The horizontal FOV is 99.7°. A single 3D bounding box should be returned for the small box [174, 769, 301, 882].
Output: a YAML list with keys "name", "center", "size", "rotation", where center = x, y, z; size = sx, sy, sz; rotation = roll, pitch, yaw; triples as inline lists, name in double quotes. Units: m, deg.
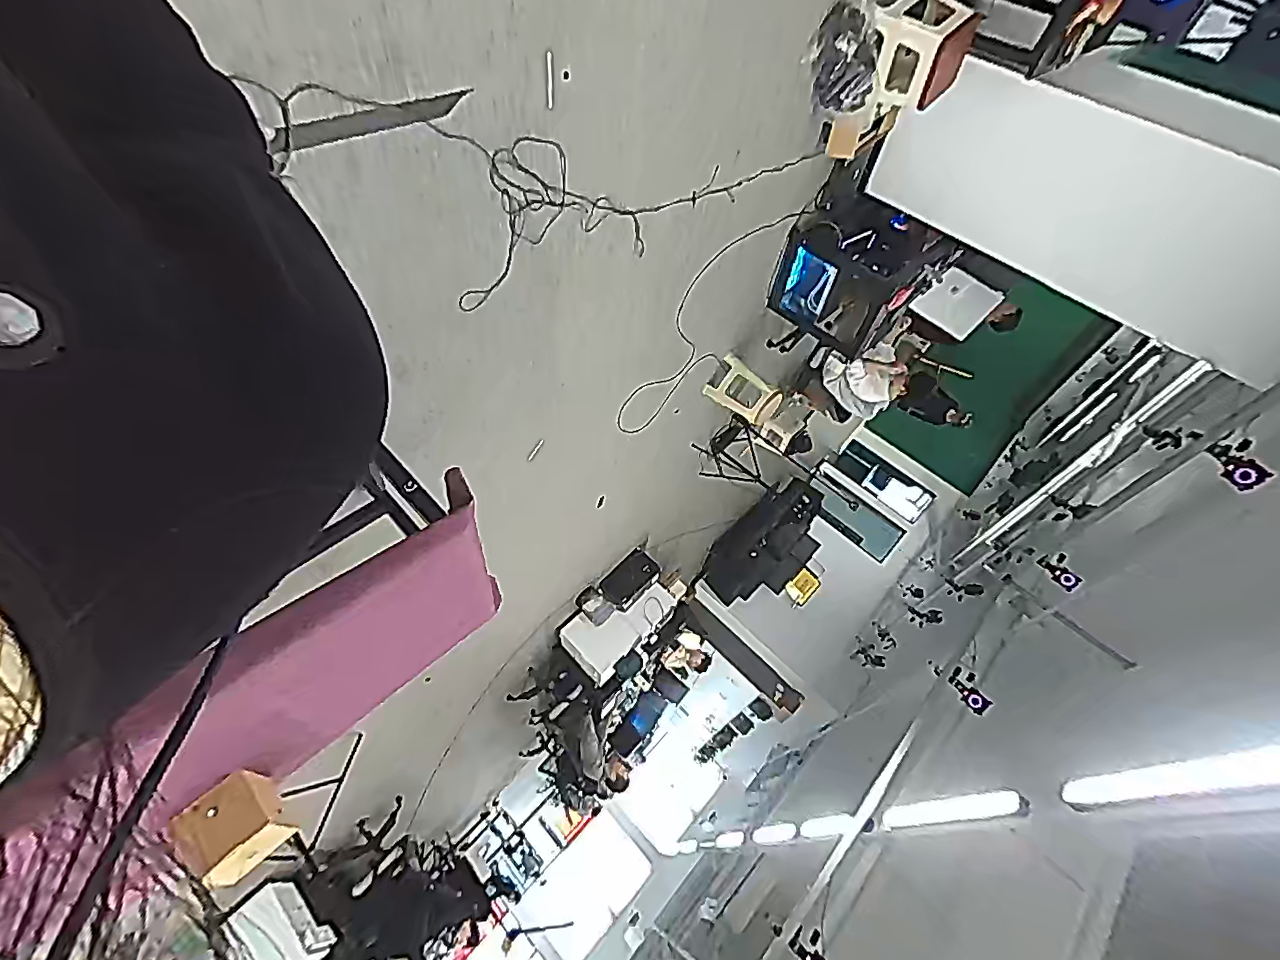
- name: "small box"
  center: [-0.992, 0.853, 1.340]
  size: [0.168, 0.176, 0.179]
  rotation: [-38, 156, -29]
